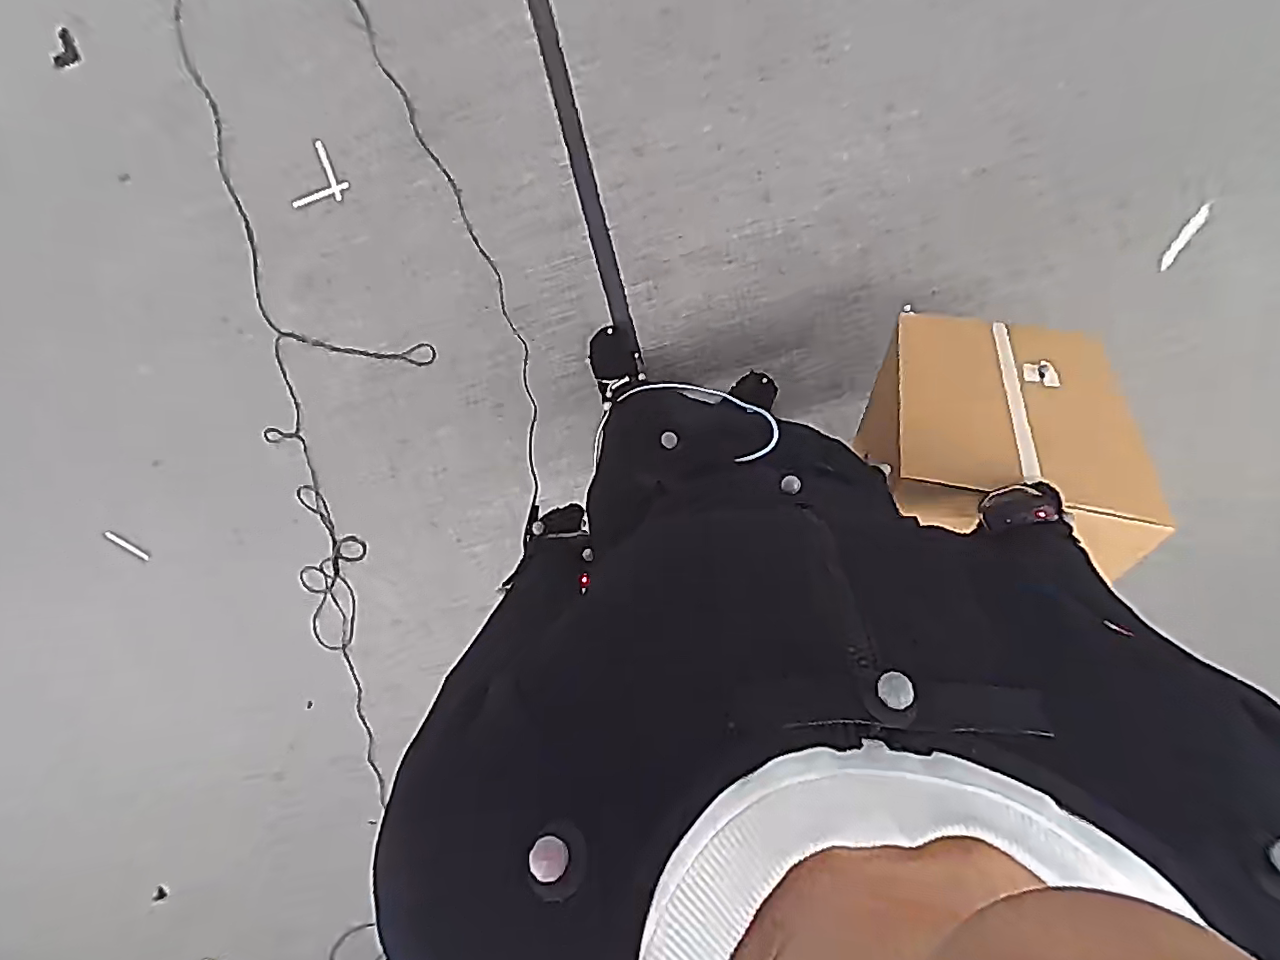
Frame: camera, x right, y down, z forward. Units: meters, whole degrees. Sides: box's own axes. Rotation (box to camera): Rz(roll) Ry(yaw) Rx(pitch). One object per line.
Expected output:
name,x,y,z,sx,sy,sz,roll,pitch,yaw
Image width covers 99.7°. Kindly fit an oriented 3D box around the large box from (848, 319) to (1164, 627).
large box,0.549,-0.021,0.921,0.320,0.408,0.320,11,139,11
